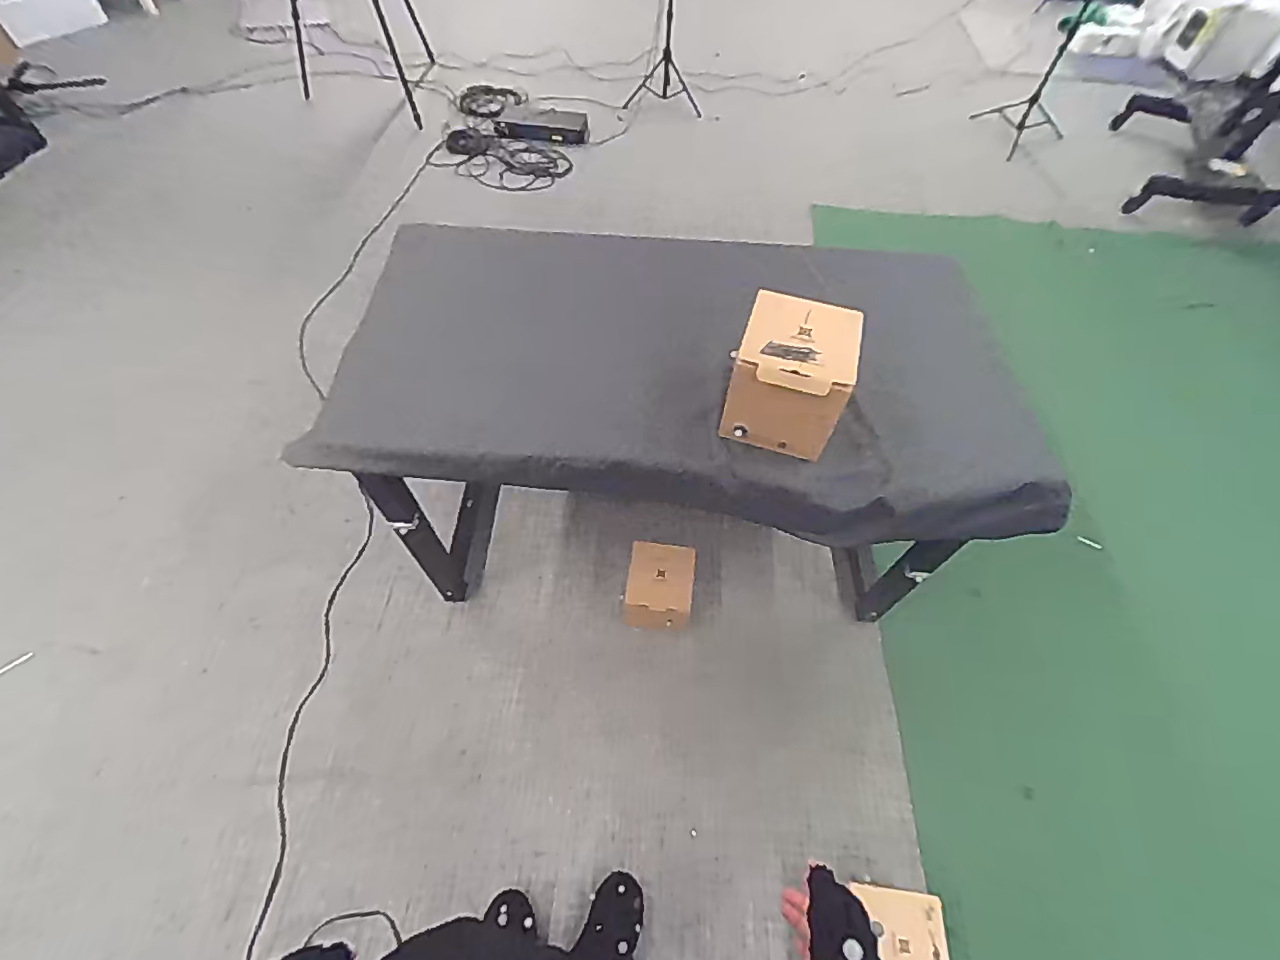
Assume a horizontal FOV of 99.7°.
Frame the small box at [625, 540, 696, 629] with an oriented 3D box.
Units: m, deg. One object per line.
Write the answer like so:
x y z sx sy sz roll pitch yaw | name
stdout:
0.052 0.282 1.435 0.168 0.176 0.179 7 55 2 | small box

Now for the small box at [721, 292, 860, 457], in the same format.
0.232 -0.164 0.861 0.168 0.176 0.179 16 56 8 | small box

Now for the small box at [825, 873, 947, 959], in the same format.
0.469 0.882 1.056 0.179 0.176 0.168 7 57 4 | small box
